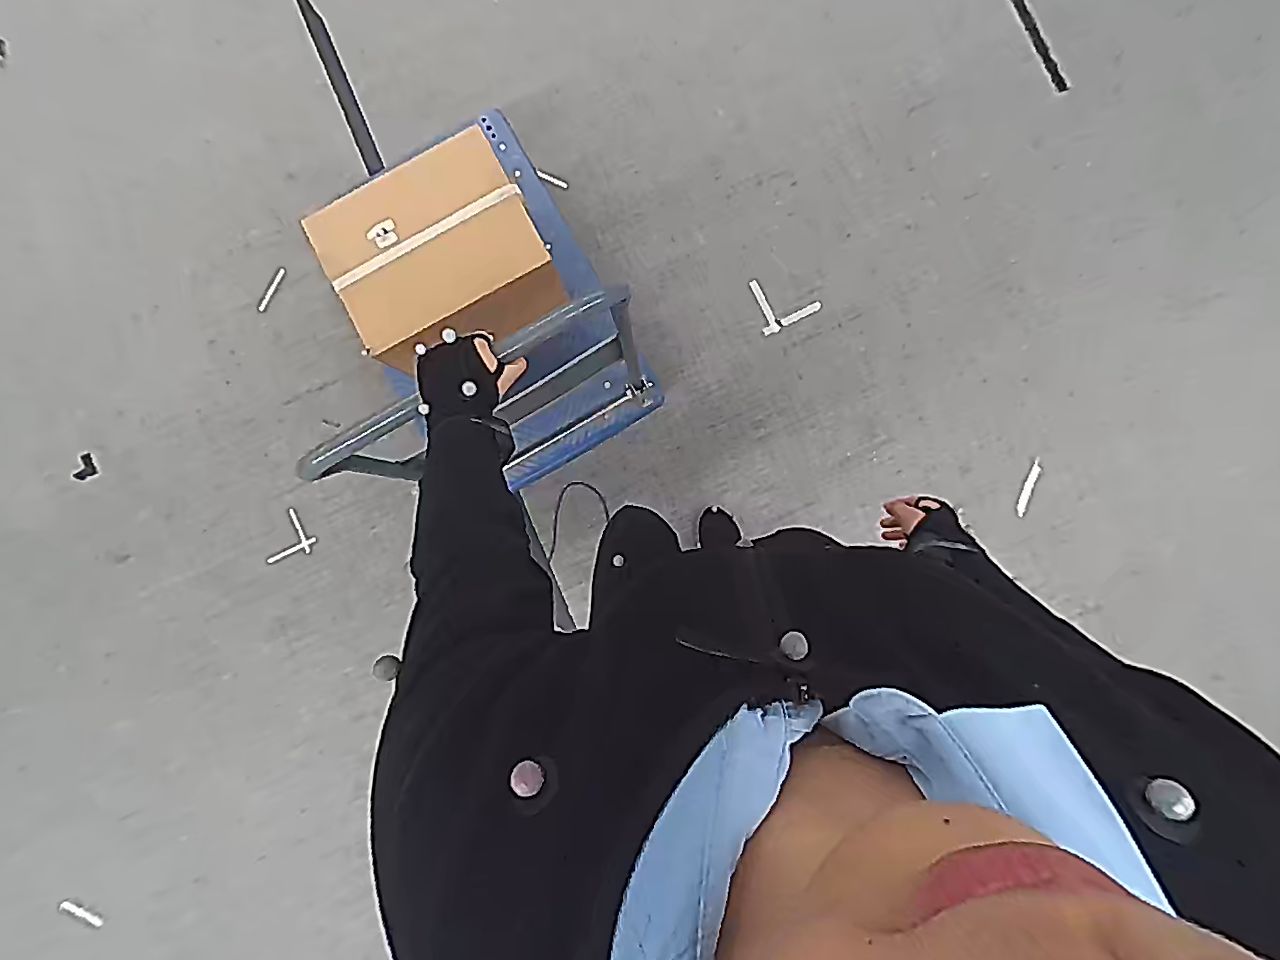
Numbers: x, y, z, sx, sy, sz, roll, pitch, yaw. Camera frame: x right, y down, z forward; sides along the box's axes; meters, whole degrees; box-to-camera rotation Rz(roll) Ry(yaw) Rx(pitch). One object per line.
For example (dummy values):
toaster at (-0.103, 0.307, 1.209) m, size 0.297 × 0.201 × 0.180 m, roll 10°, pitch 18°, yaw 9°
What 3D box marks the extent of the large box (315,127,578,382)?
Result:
large box at (-0.403, -0.473, 1.221) m, size 0.408 × 0.320 × 0.320 m, roll -28°, pitch 87°, yaw 2°
